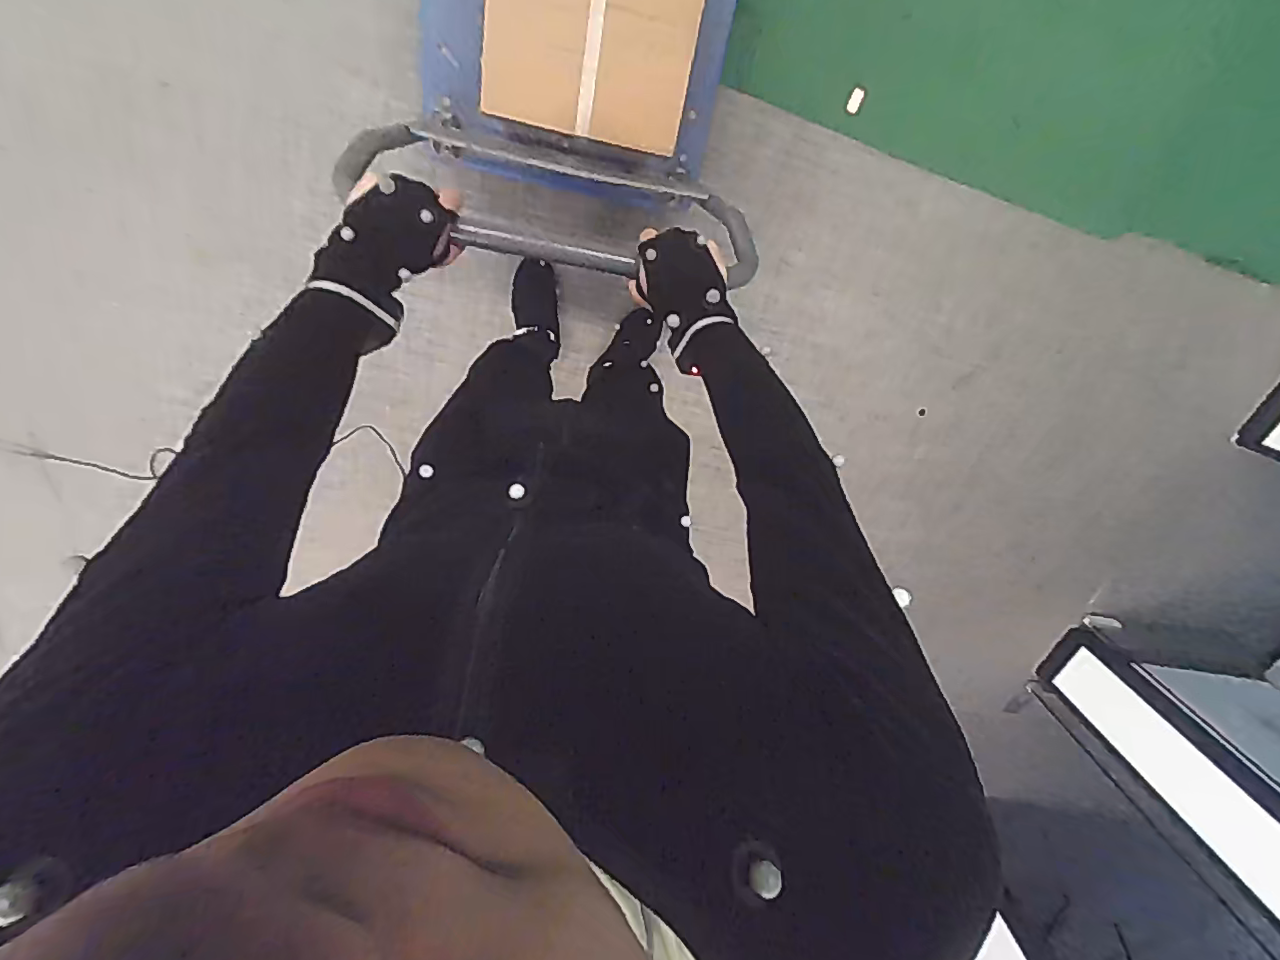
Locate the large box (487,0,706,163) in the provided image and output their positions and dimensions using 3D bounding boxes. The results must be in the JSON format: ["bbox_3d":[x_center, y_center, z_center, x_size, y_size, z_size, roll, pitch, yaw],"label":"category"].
[{"bbox_3d":[-0.070,-0.789,0.908,0.320,0.320,0.408,6,119,-12],"label":"large box"}]
